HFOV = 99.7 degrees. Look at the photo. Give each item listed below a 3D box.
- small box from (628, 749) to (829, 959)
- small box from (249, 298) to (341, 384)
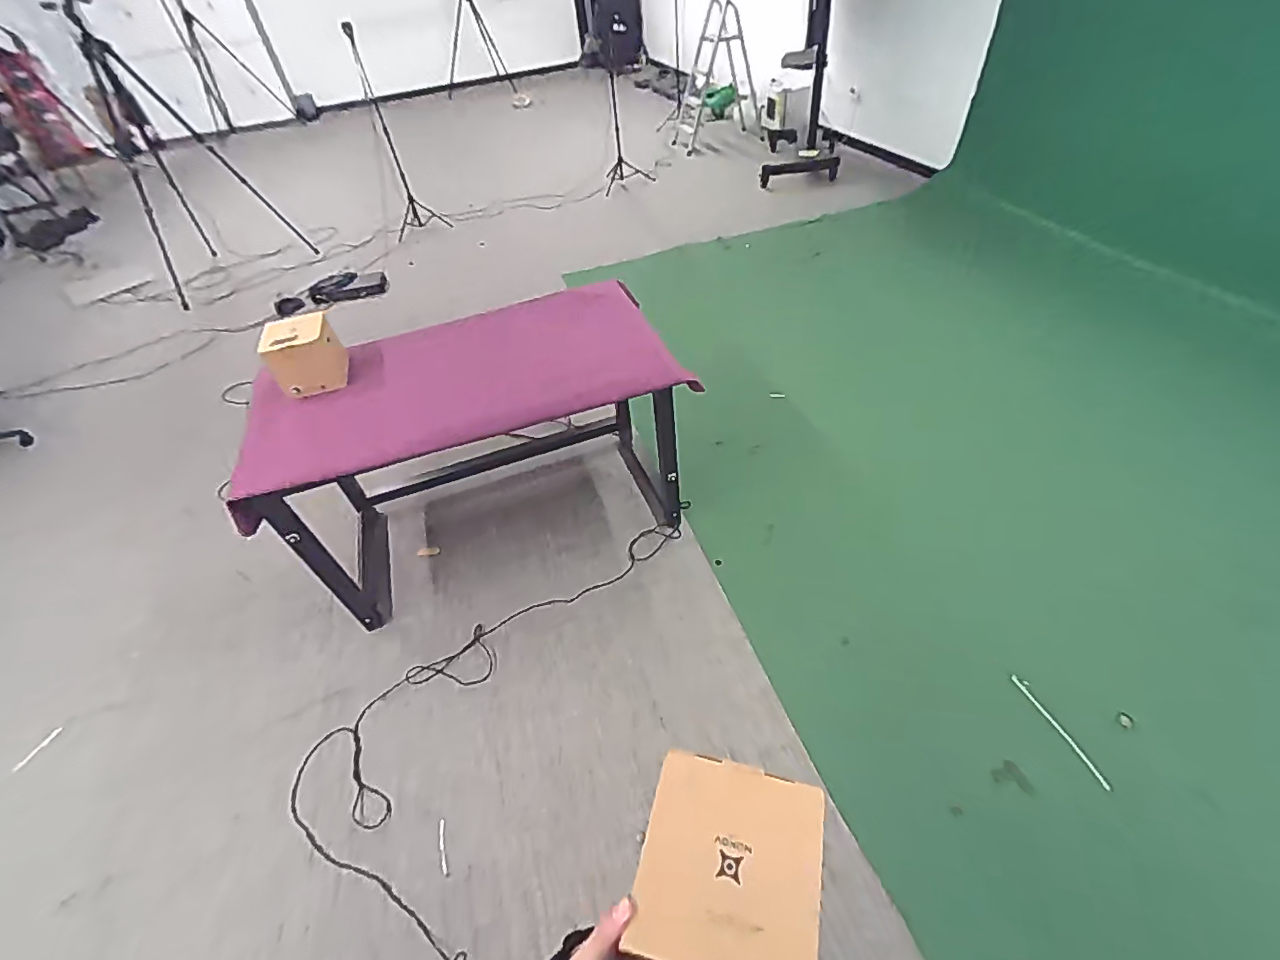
[{"bbox_3d":[0.091,0.418,0.561,0.168,0.176,0.179,10,46,13],"label":"small box"},{"bbox_3d":[-0.997,-0.398,1.580,0.168,0.176,0.179,-16,49,-9],"label":"small box"}]
